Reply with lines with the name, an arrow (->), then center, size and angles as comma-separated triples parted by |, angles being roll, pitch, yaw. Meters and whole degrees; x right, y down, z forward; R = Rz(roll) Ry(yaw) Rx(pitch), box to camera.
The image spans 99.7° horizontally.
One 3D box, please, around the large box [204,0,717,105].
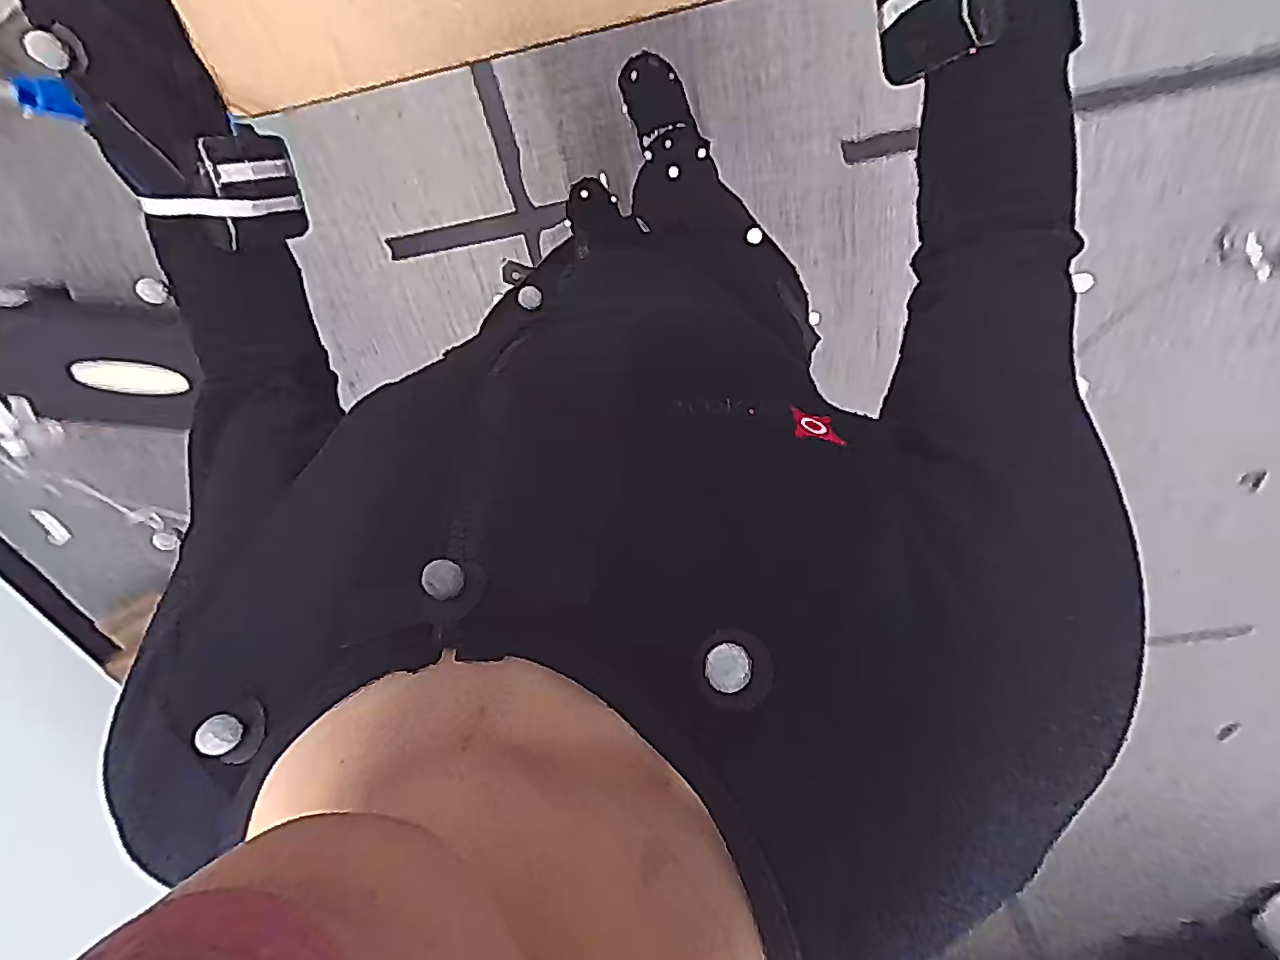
large box -> -0.081, -0.479, 0.334 | 0.408, 0.320, 0.320 | -9, 133, 5
